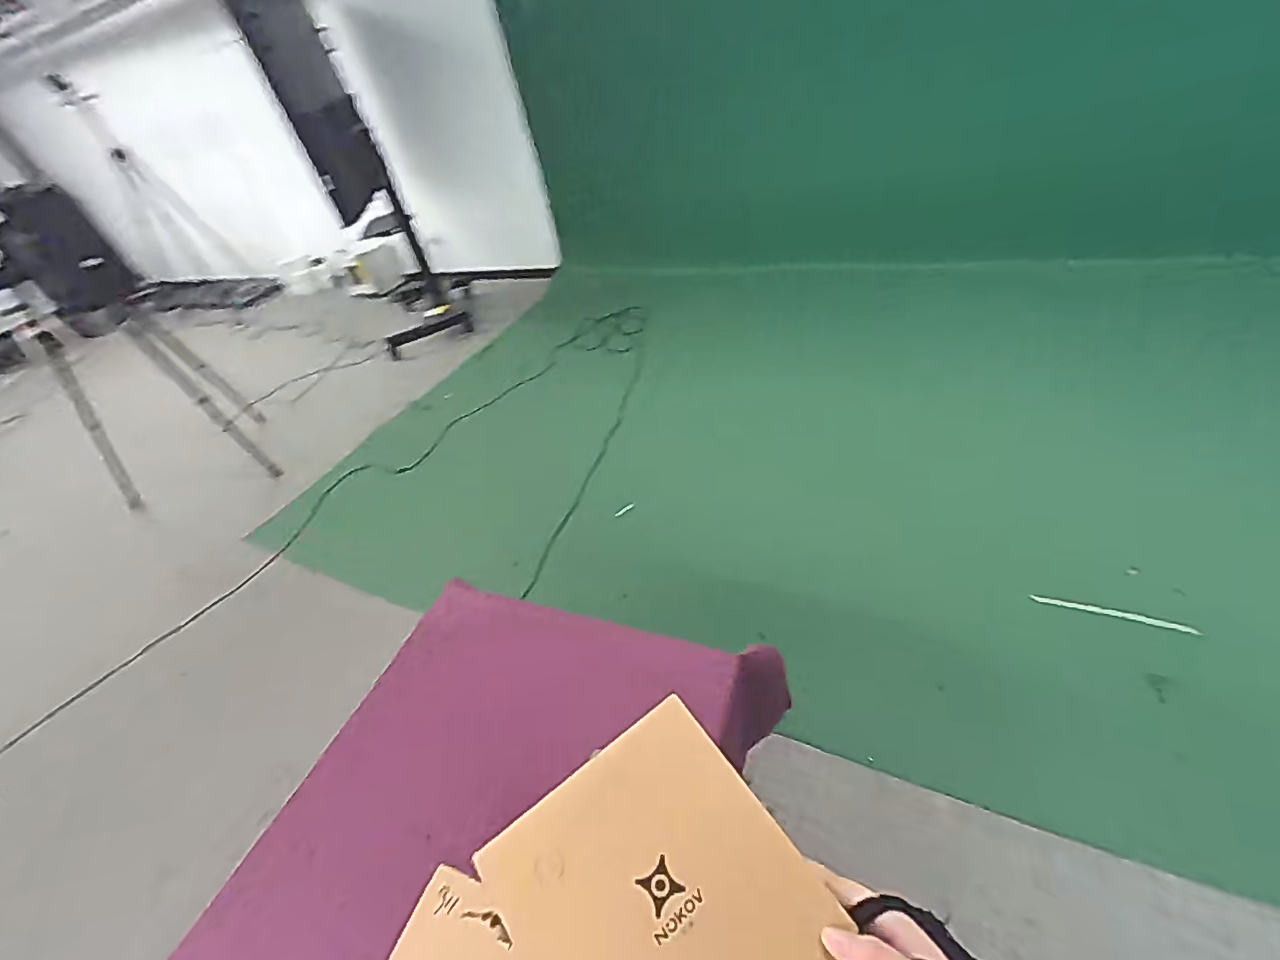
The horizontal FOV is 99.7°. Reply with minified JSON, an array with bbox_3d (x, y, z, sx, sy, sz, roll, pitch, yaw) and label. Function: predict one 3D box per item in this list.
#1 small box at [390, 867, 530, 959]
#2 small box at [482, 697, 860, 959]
[{"bbox_3d":[-0.152,0.535,0.539,0.168,0.176,0.179,5,44,23],"label":"small box"},{"bbox_3d":[0.008,0.297,0.385,0.168,0.176,0.179,-28,60,-26],"label":"small box"}]
